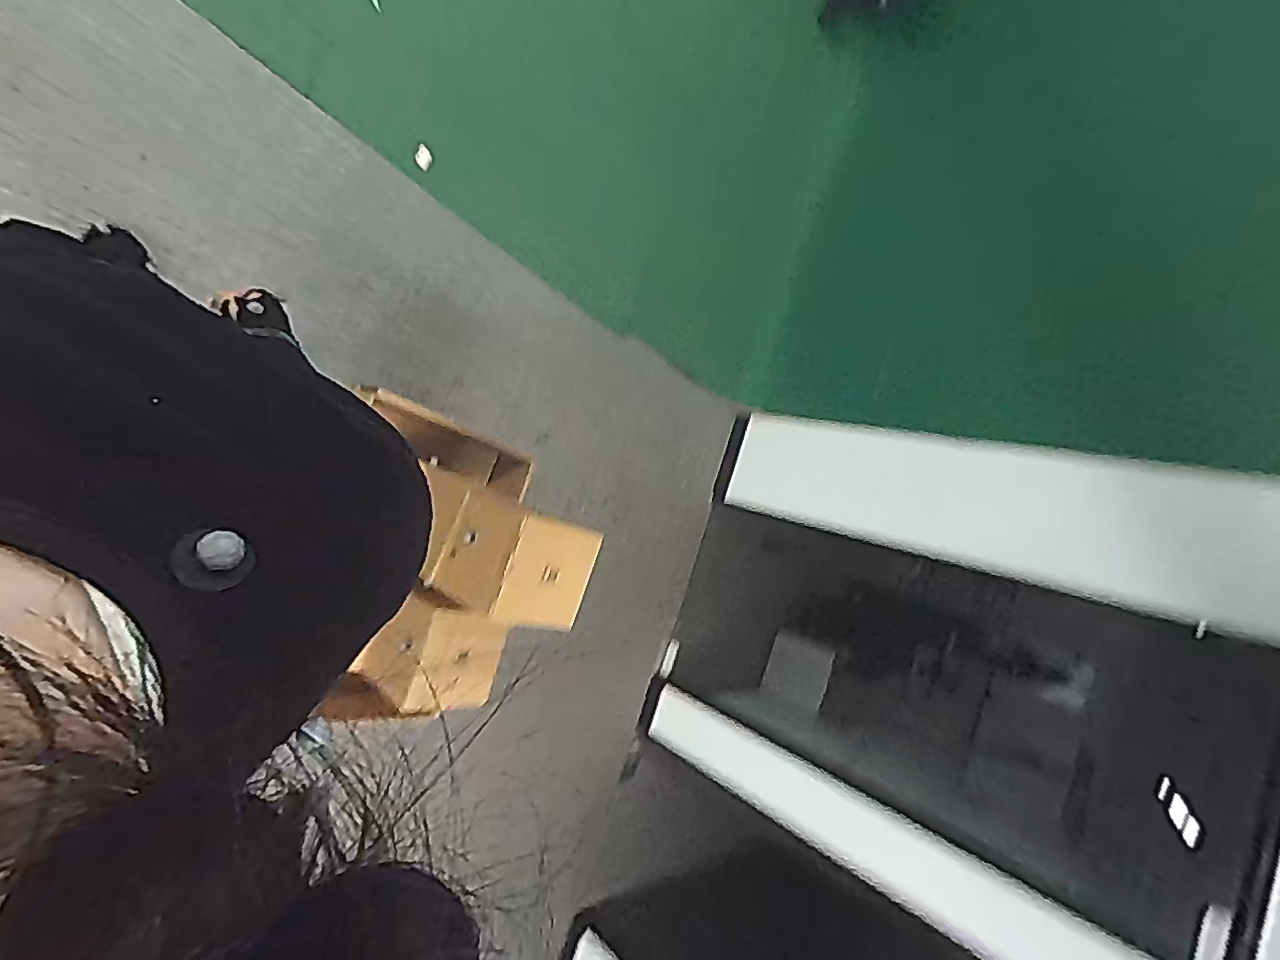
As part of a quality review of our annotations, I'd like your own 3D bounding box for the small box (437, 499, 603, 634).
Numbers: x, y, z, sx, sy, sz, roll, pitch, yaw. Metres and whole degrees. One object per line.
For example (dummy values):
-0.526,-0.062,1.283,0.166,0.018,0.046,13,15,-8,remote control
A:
-0.199,0.141,0.897,0.179,0.176,0.168,25,83,-48,small box
